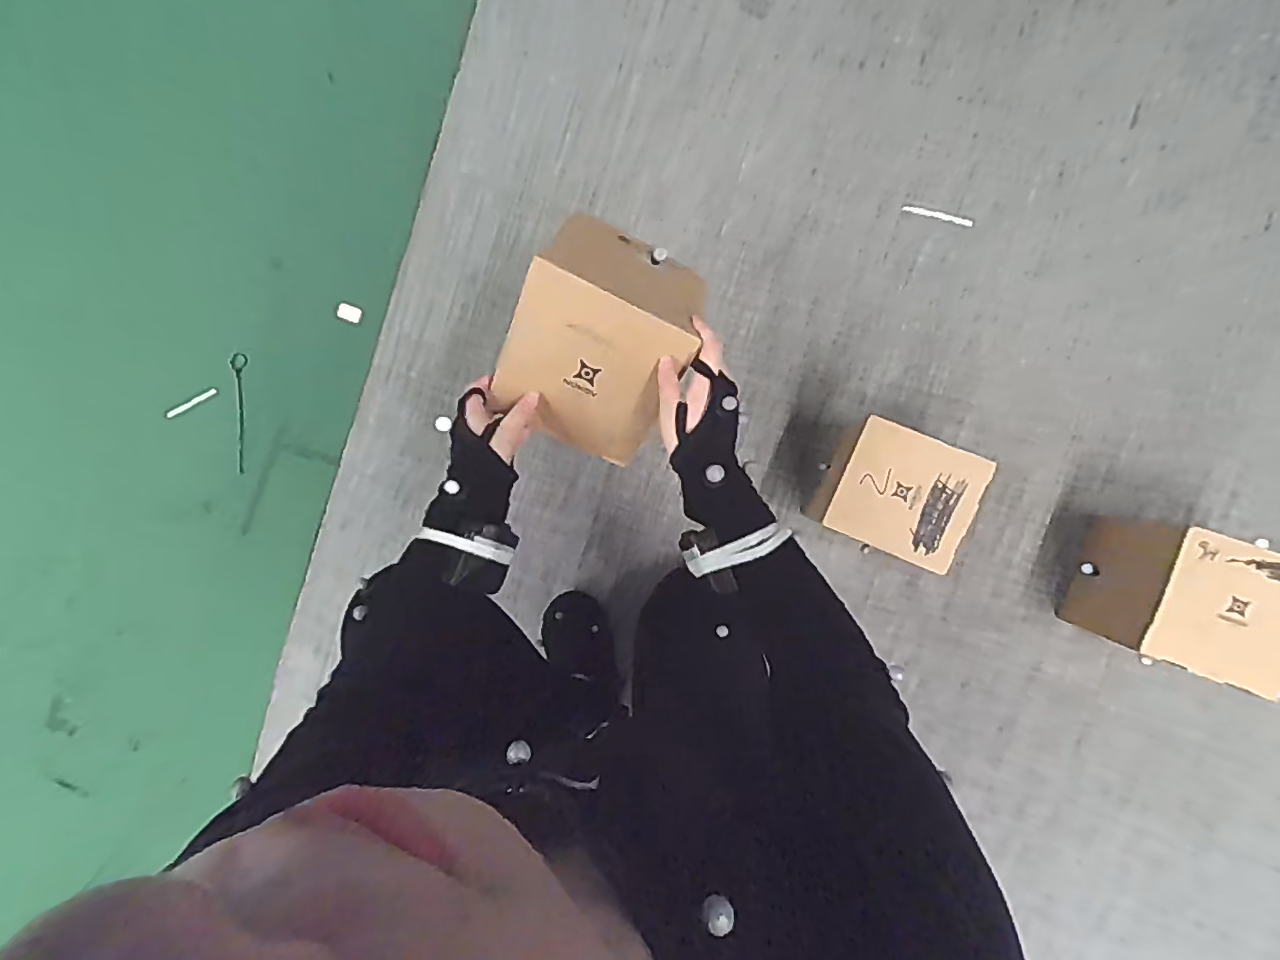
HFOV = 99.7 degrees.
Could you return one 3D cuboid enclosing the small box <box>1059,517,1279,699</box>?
[{"bbox_3d":[0.734,0.162,0.750,0.168,0.176,0.179,20,93,7],"label":"small box"}]
